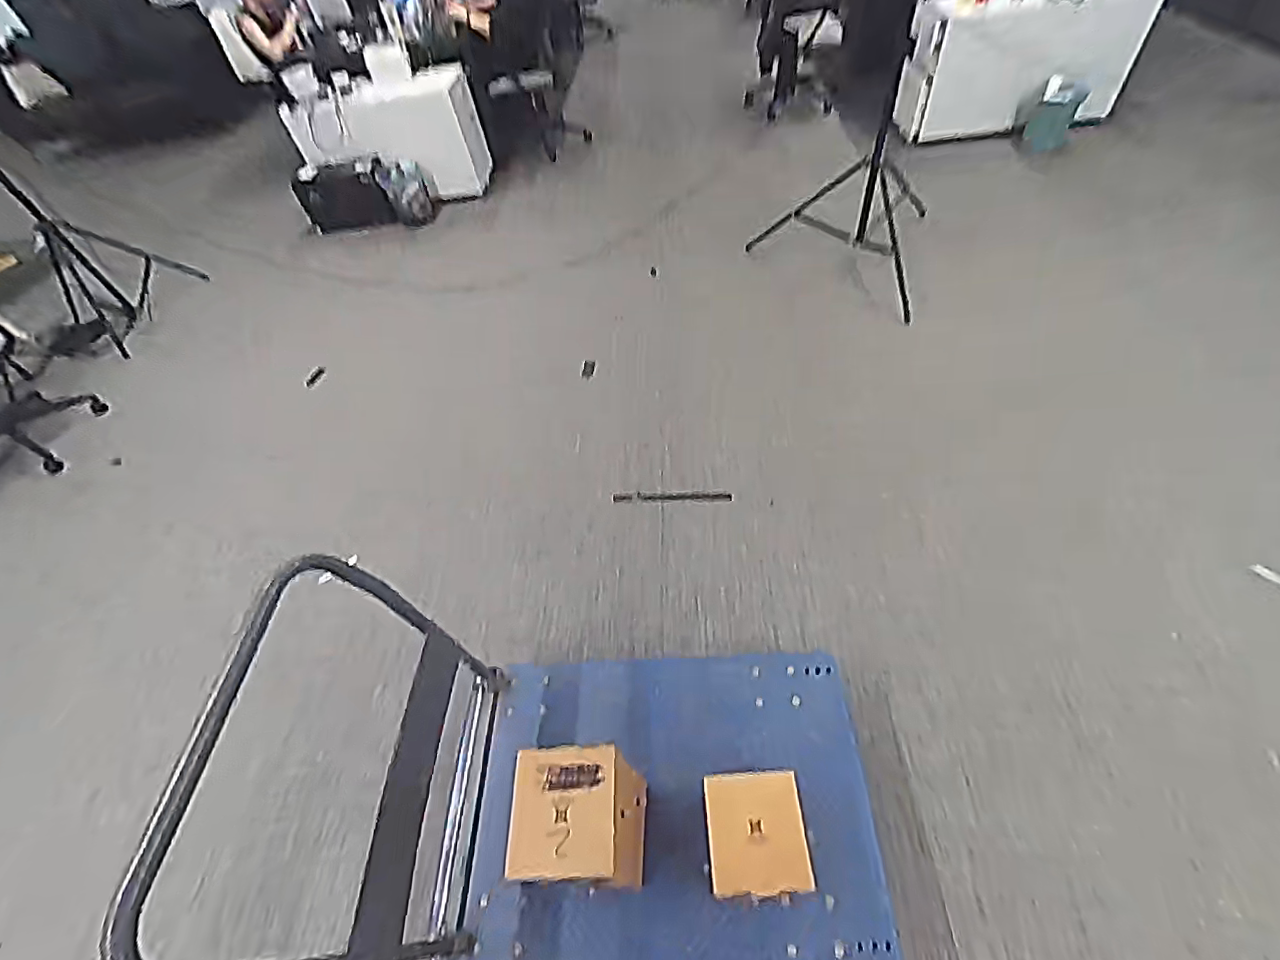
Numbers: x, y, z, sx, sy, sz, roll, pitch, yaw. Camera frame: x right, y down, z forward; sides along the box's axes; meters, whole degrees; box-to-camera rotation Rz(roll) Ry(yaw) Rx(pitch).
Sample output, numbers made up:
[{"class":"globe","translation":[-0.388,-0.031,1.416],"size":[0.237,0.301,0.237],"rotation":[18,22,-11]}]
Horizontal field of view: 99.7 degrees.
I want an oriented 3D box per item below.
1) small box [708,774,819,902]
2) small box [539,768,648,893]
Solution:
[{"class":"small box","translation":[0.215,0.656,0.987],"size":[0.168,0.176,0.179],"rotation":[-7,51,4]},{"class":"small box","translation":[-0.078,0.665,1.024],"size":[0.168,0.176,0.179],"rotation":[-2,51,9]}]
